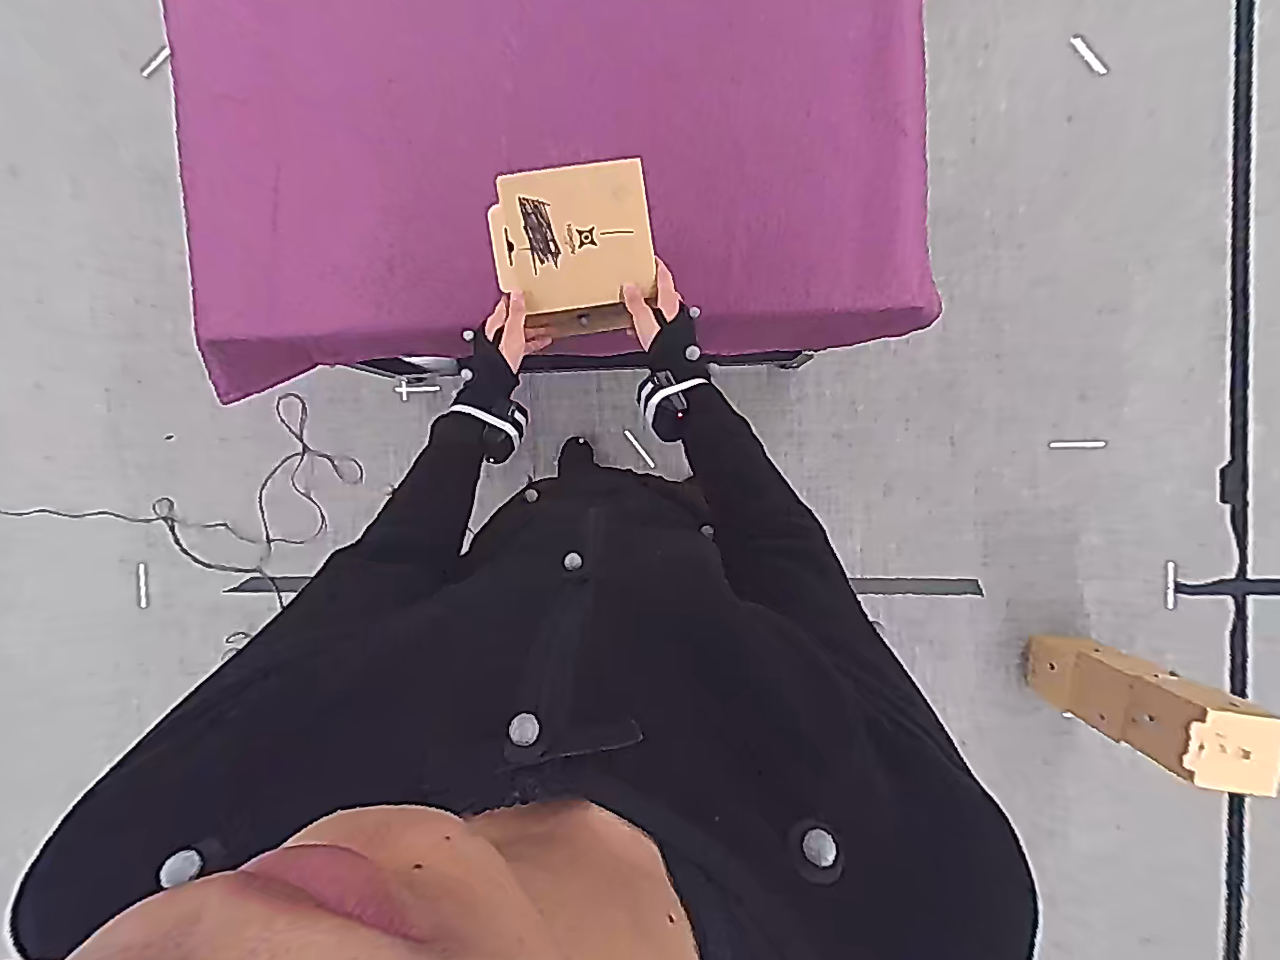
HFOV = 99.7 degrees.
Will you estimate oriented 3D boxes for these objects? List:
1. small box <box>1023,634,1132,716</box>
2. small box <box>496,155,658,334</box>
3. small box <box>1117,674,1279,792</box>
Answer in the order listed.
[{"bbox_3d":[1.225,0.543,1.526,0.179,0.176,0.168,3,93,2],"label":"small box"},{"bbox_3d":[-0.078,-0.300,0.725,0.179,0.176,0.168,-9,96,-3],"label":"small box"},{"bbox_3d":[1.226,0.550,1.196,0.179,0.176,0.168,8,94,2],"label":"small box"}]
